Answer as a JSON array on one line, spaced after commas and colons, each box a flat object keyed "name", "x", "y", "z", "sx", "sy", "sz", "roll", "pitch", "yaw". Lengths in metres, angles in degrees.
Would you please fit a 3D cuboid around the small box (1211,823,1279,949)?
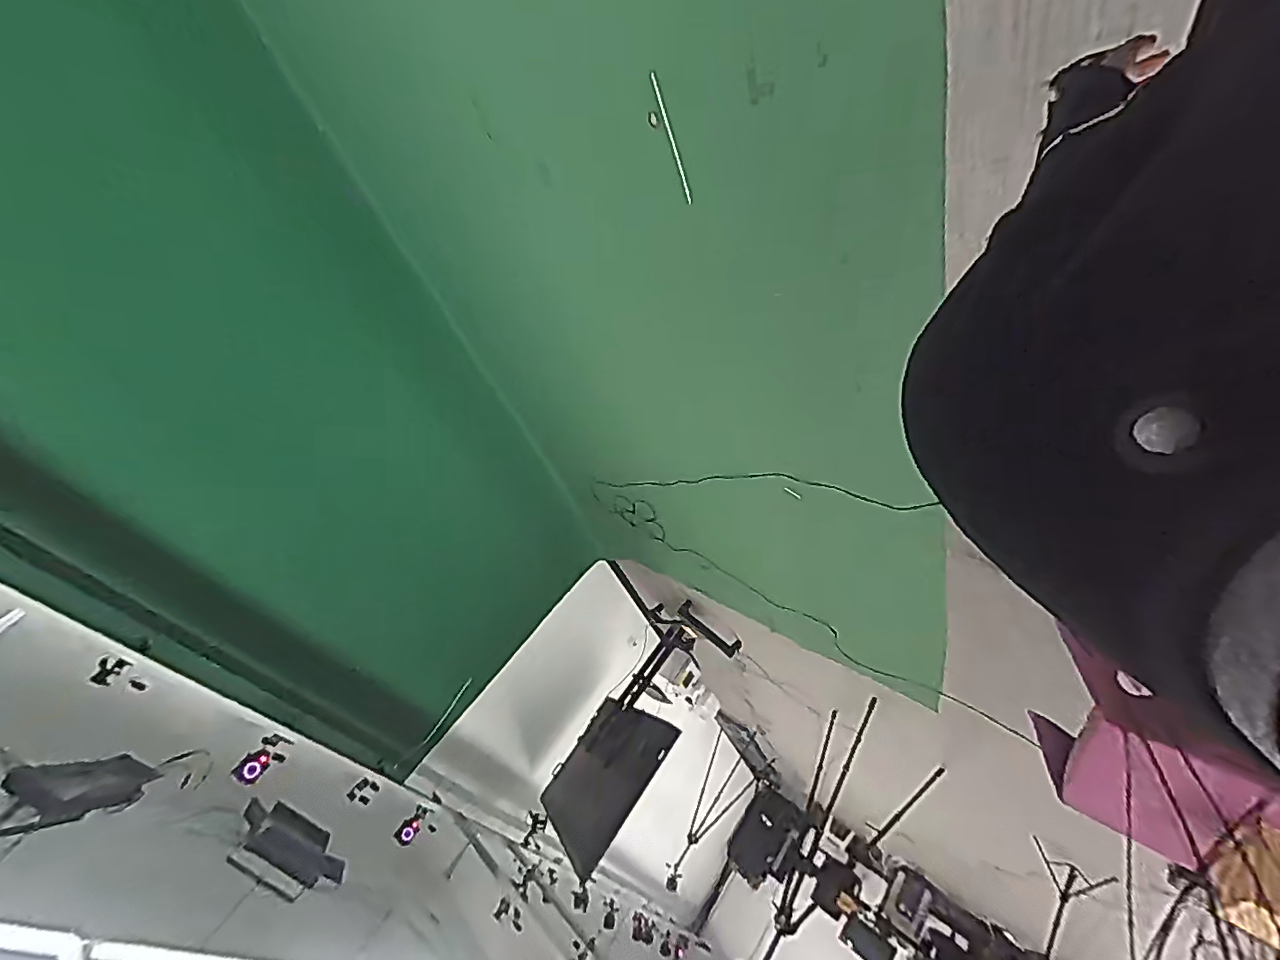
[{"name": "small box", "x": 1.279, "y": 0.814, "z": 1.062, "sx": 0.168, "sy": 0.176, "sz": 0.179, "roll": 20, "pitch": 149, "yaw": 39}]
